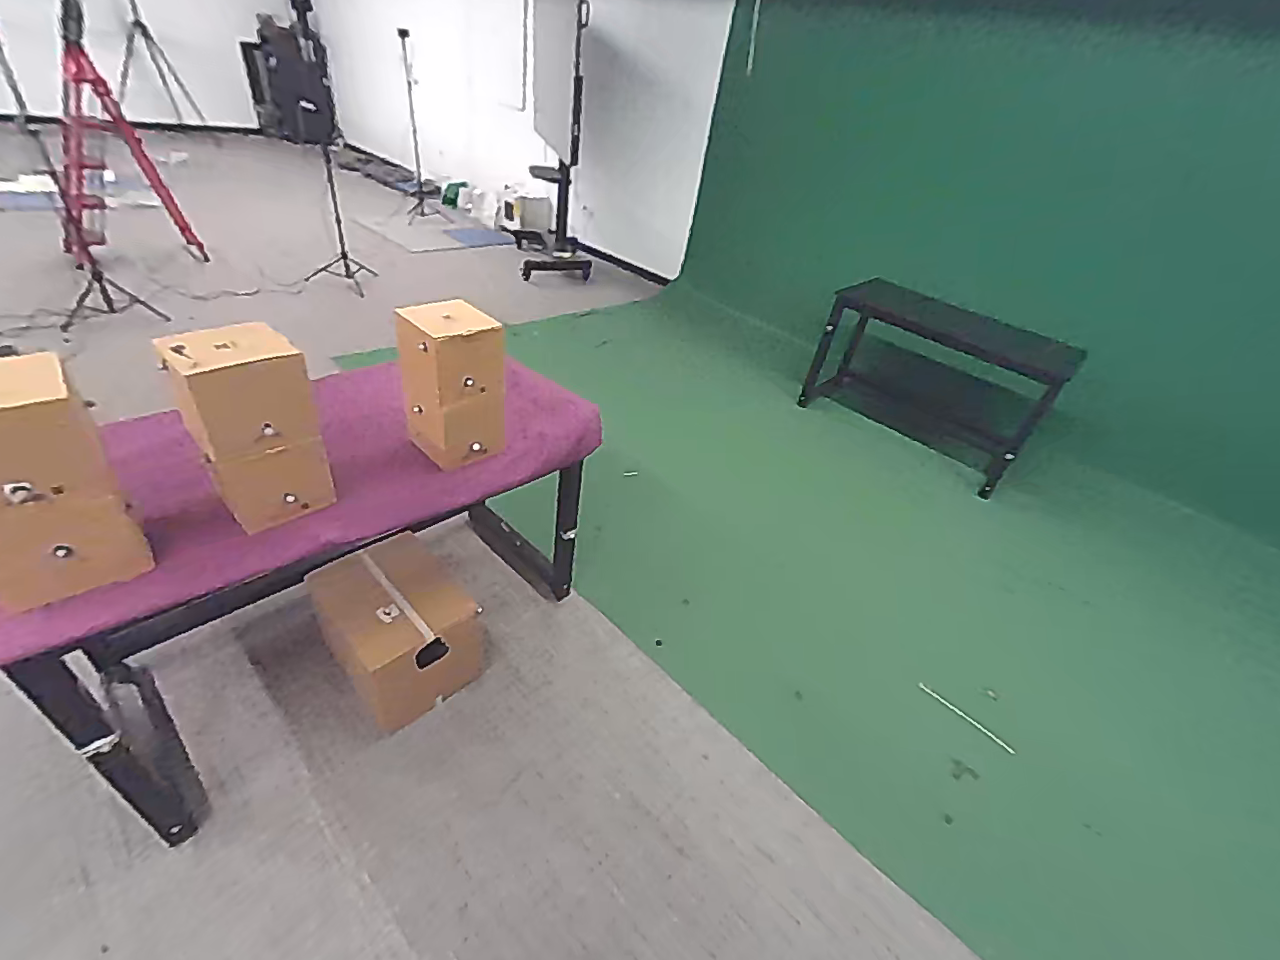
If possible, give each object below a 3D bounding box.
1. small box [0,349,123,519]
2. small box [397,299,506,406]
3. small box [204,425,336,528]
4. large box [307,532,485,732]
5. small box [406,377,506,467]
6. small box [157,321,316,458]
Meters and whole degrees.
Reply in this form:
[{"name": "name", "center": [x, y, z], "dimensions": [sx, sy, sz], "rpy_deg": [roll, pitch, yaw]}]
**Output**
[{"name": "small box", "center": [-0.909, -0.070, 0.792], "dimensions": [0.168, 0.176, 0.179], "rpy_deg": [-25, 49, -37]}, {"name": "small box", "center": [-0.421, -0.288, 1.214], "dimensions": [0.179, 0.176, 0.168], "rpy_deg": [35, 43, 29]}, {"name": "small box", "center": [-0.733, -0.036, 1.068], "dimensions": [0.179, 0.176, 0.168], "rpy_deg": [33, 42, 29]}, {"name": "large box", "center": [-0.700, 0.427, 1.580], "dimensions": [0.408, 0.320, 0.320], "rpy_deg": [36, 44, 28]}, {"name": "small box", "center": [-0.443, -0.157, 1.307], "dimensions": [0.179, 0.176, 0.168], "rpy_deg": [35, 43, 29]}, {"name": "small box", "center": [-0.709, -0.165, 0.970], "dimensions": [0.168, 0.176, 0.179], "rpy_deg": [32, 41, 29]}]
